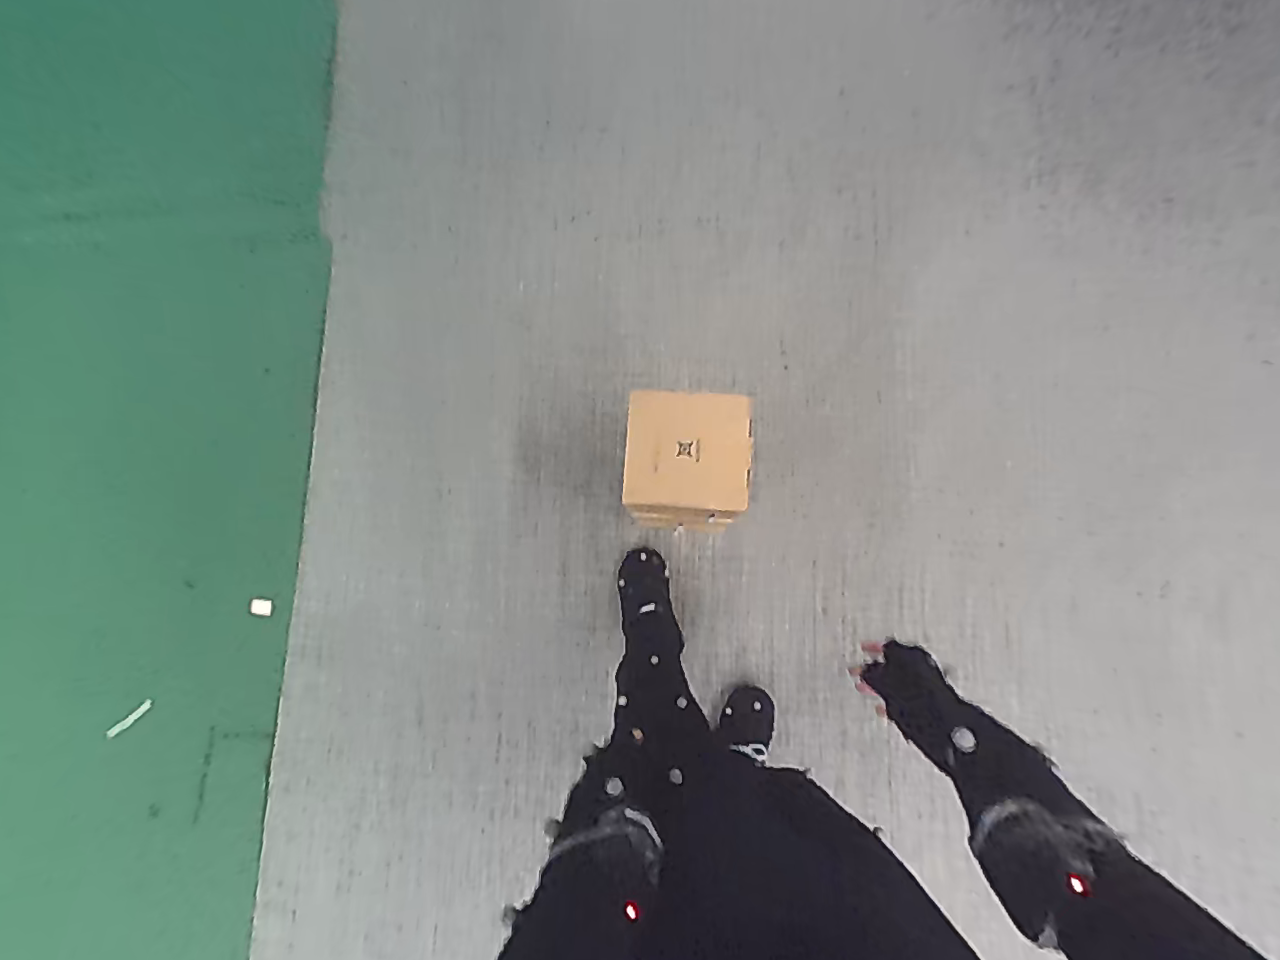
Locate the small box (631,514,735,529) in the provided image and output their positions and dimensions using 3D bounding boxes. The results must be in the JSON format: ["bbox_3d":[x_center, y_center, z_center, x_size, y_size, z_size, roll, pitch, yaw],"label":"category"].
[{"bbox_3d":[0.082,0.001,0.999,0.179,0.176,0.168,5,83,3],"label":"small box"}]

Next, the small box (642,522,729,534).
[{"bbox_3d":[0.095,0.029,1.159,0.179,0.176,0.168,2,83,2],"label":"small box"}]

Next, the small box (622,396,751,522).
[{"bbox_3d":[0.071,-0.025,0.839,0.179,0.176,0.168,3,82,5],"label":"small box"}]
